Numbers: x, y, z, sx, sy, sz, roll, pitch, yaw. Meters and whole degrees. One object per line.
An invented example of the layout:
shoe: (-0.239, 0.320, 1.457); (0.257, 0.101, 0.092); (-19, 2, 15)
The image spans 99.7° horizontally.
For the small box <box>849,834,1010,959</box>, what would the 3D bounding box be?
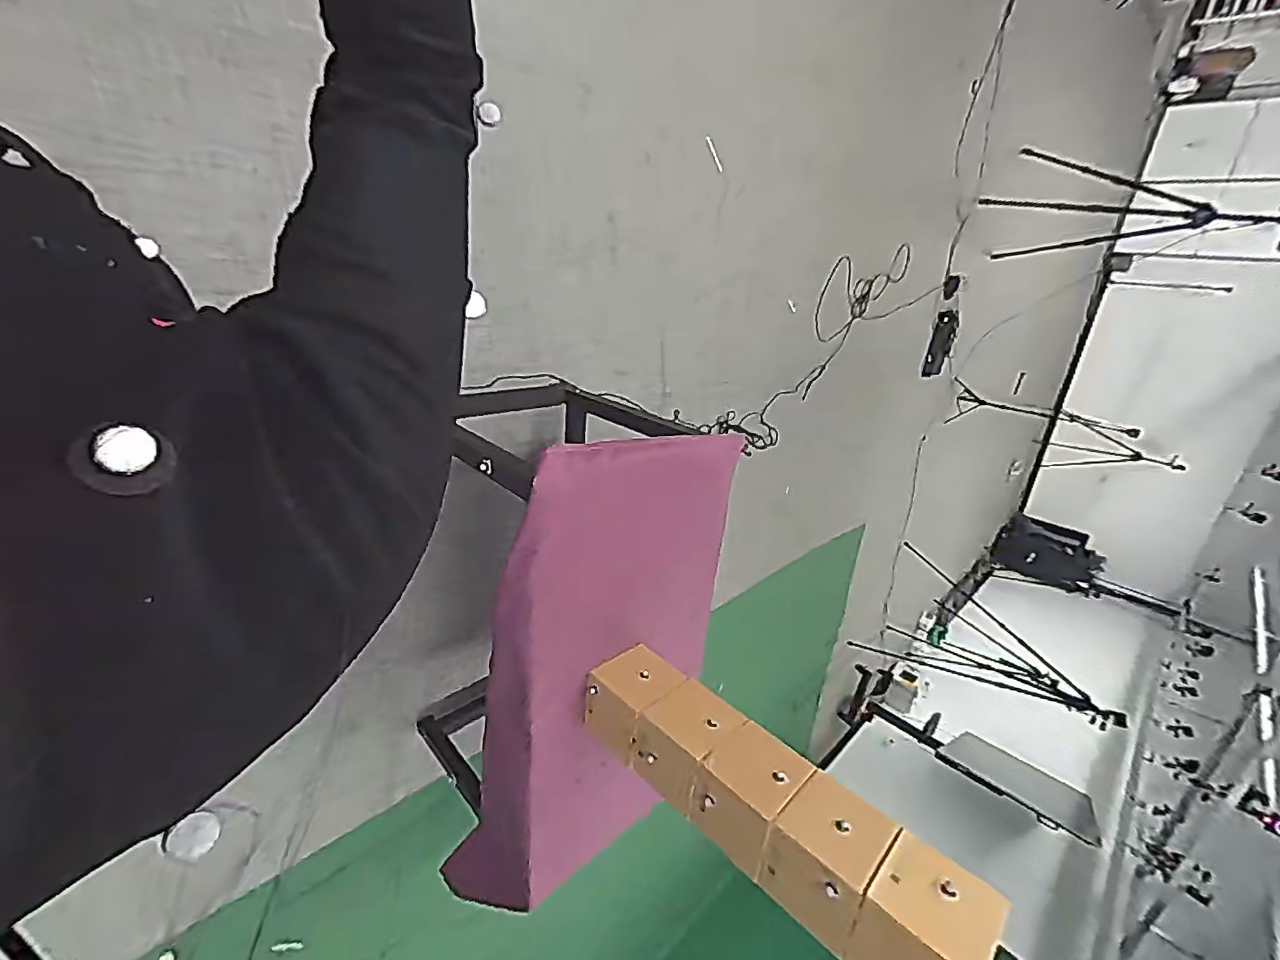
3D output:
small box: (0.459, 0.720, 0.872); (0.168, 0.176, 0.179); (-16, 119, -43)

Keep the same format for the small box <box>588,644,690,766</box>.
small box: (-0.007, 0.524, 1.286); (0.179, 0.176, 0.168); (-14, 118, -43)

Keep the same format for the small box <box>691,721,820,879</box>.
small box: (0.228, 0.623, 1.081); (0.179, 0.176, 0.168); (-15, 118, -42)

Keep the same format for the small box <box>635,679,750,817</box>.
small box: (0.113, 0.573, 1.184); (0.179, 0.176, 0.168); (-14, 118, -42)
